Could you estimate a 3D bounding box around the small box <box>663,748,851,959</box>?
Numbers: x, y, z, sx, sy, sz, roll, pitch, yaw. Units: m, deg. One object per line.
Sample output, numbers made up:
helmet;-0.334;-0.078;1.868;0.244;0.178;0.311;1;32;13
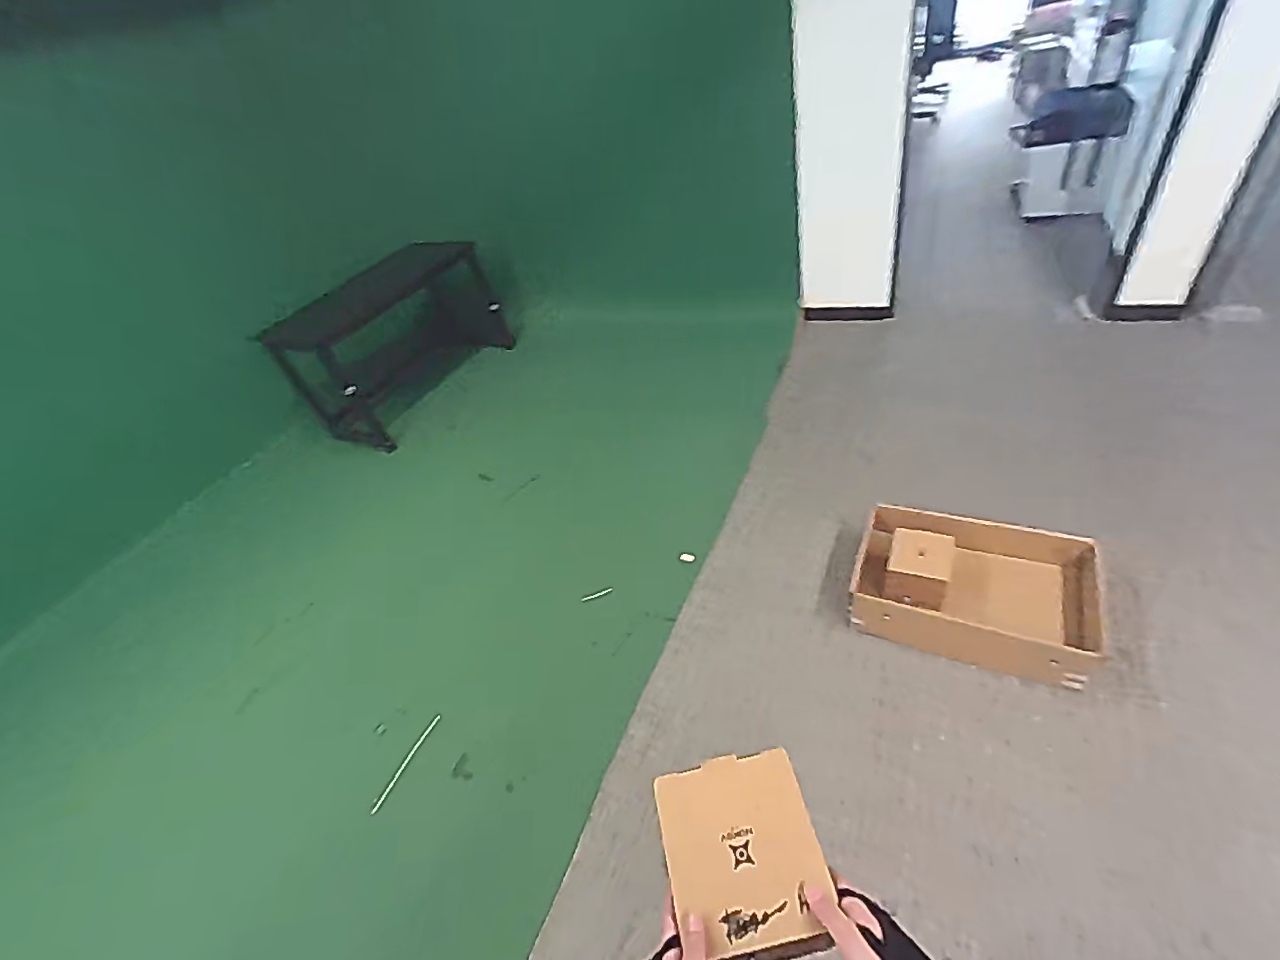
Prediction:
small box;0.127;0.452;0.643;0.168;0.176;0.179;-12;44;0
